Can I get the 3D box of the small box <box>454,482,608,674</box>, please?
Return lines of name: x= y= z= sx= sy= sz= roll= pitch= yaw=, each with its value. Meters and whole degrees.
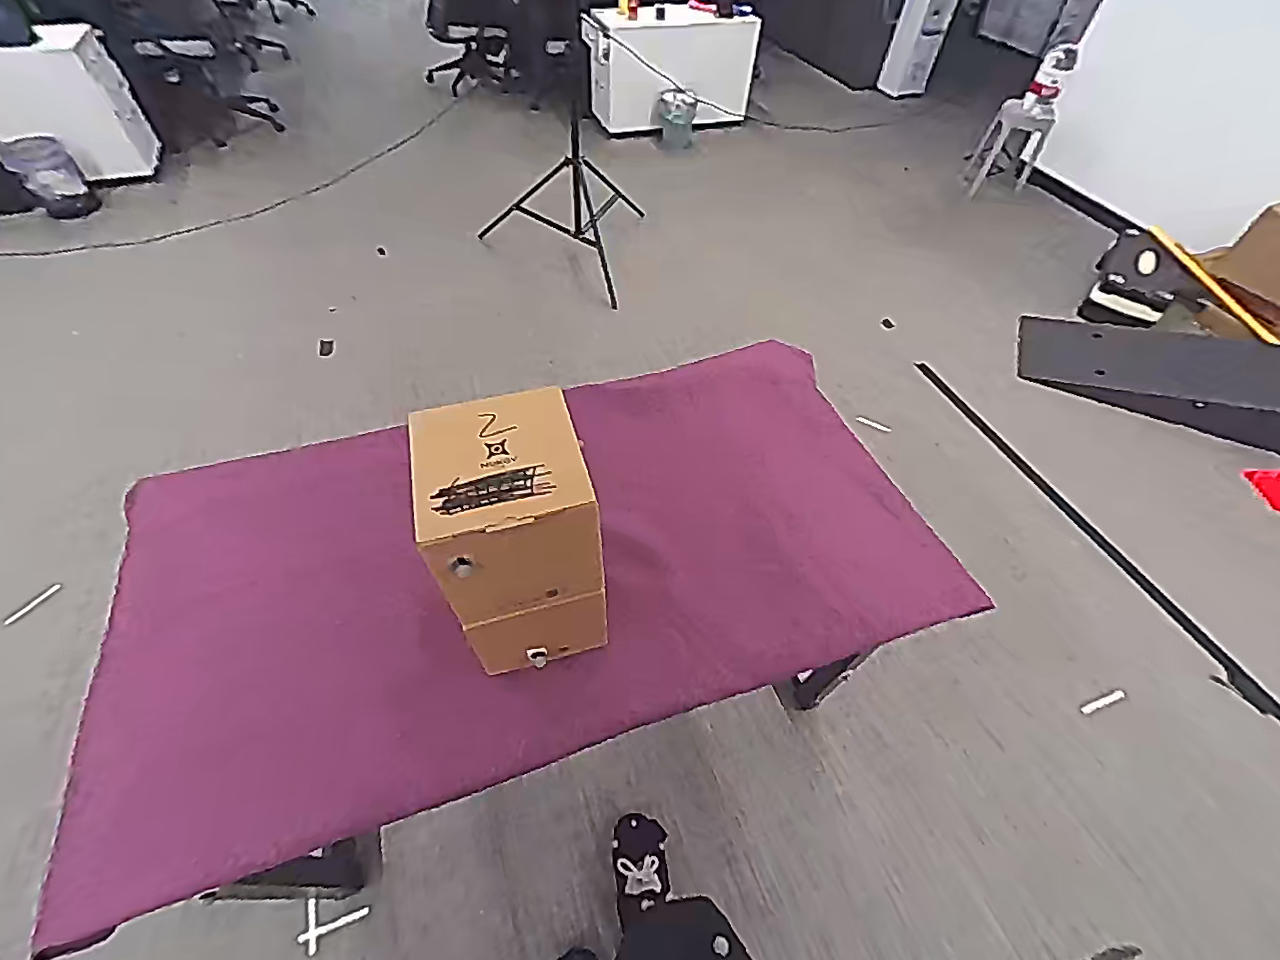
small box: x=-0.144 y=0.133 z=0.730 sx=0.168 sy=0.176 sz=0.179 roll=-13 pitch=54 yaw=-12
